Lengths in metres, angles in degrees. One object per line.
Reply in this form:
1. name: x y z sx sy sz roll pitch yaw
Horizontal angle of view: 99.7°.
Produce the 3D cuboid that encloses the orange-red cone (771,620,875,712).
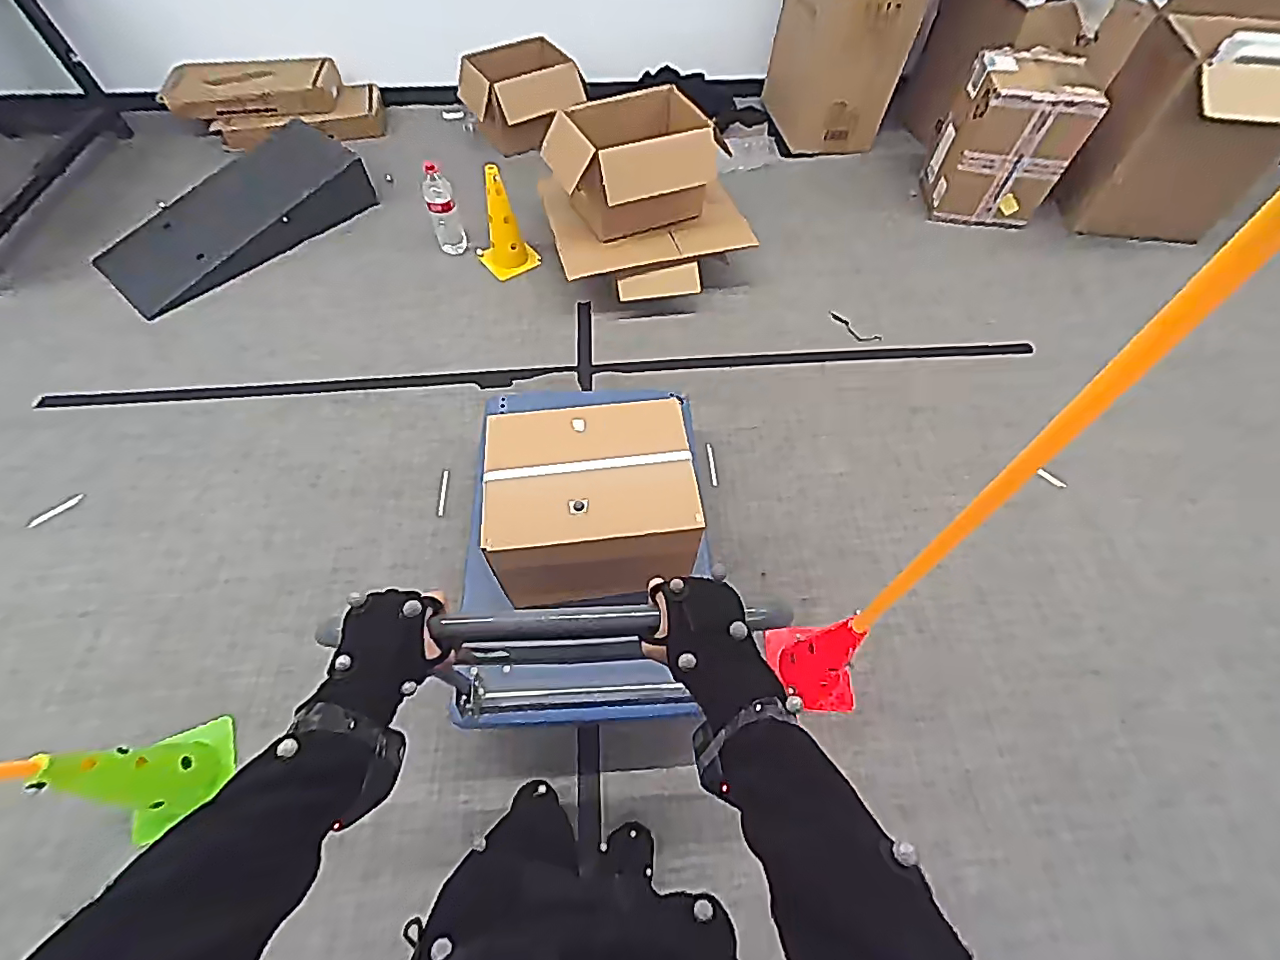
1. orange-red cone: 0.427 0.372 1.178 0.199 0.360 0.198 3 59 0
